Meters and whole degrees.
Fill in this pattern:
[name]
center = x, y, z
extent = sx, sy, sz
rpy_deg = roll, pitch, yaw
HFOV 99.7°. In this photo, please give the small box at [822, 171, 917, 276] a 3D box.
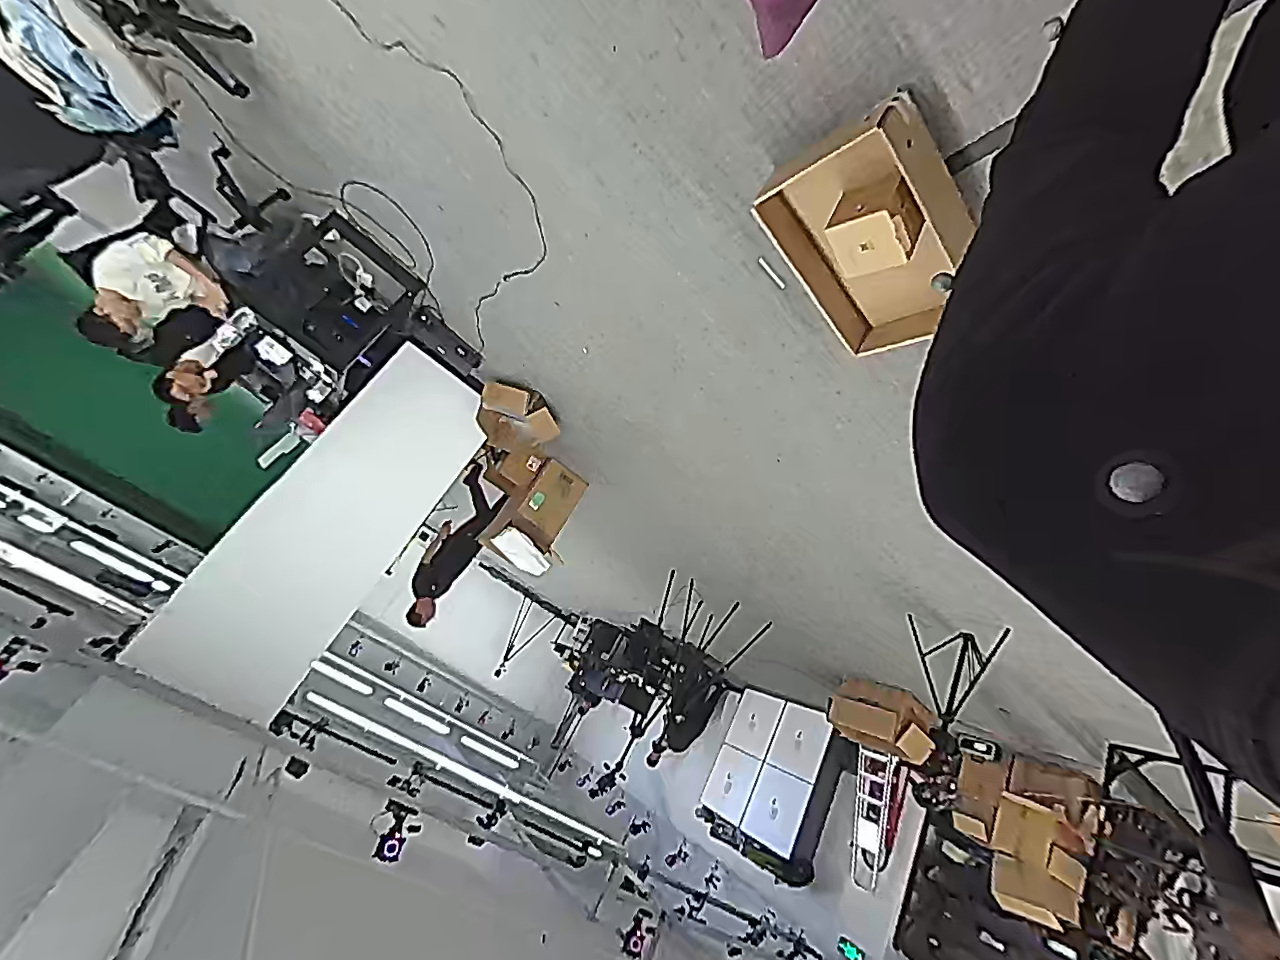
[small box]
center = 0.624, -0.687, 1.454
extent = 0.179, 0.176, 0.168
rpy_deg = 3, 146, 48
